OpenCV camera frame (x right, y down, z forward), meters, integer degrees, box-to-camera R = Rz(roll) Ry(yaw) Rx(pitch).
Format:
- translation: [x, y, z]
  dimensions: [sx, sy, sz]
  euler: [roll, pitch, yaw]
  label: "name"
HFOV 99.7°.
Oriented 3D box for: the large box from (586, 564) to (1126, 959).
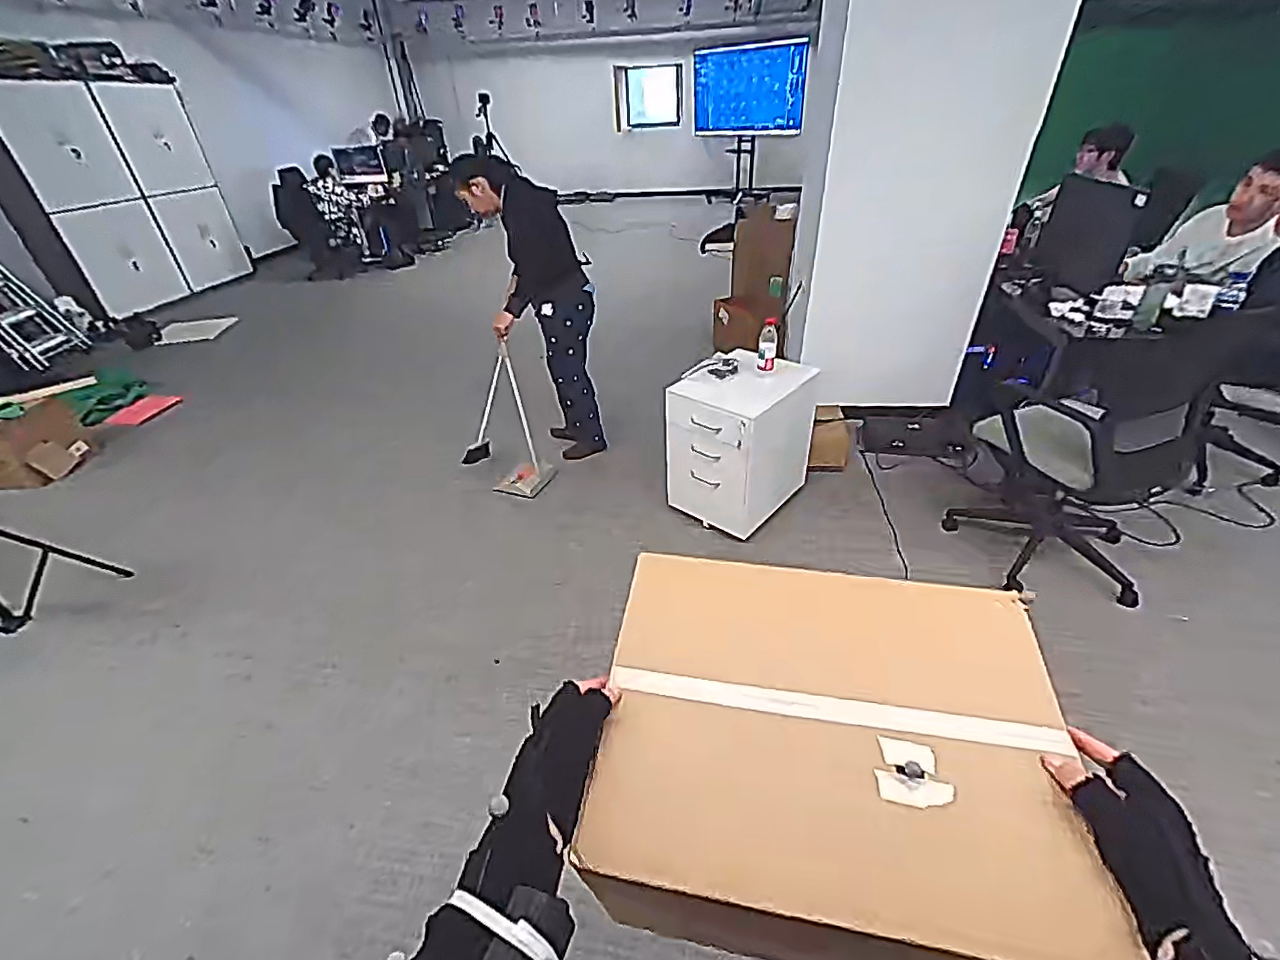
- translation: [0.183, 0.326, 0.617]
  dimensions: [0.408, 0.320, 0.320]
  euler: [5, 46, 11]
  label: "large box"
